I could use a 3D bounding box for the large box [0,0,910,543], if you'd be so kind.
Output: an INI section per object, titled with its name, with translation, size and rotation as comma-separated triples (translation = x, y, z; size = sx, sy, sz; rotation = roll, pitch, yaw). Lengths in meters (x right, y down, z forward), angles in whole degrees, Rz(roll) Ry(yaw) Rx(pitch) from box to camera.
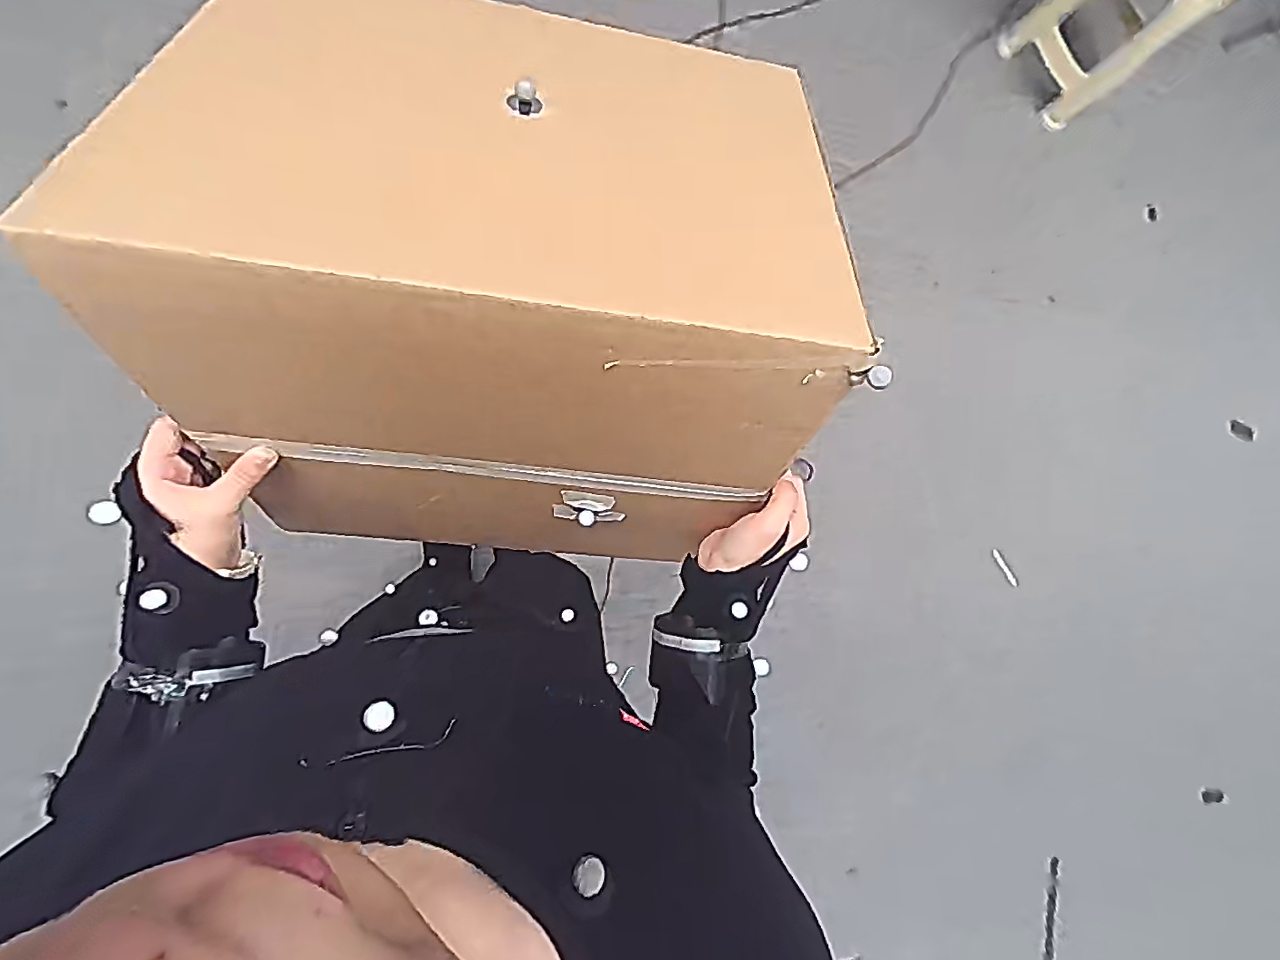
[large box]
translation = -0.088, -0.156, 0.439
size = 0.408, 0.320, 0.320
rotation = 4, 61, -8
